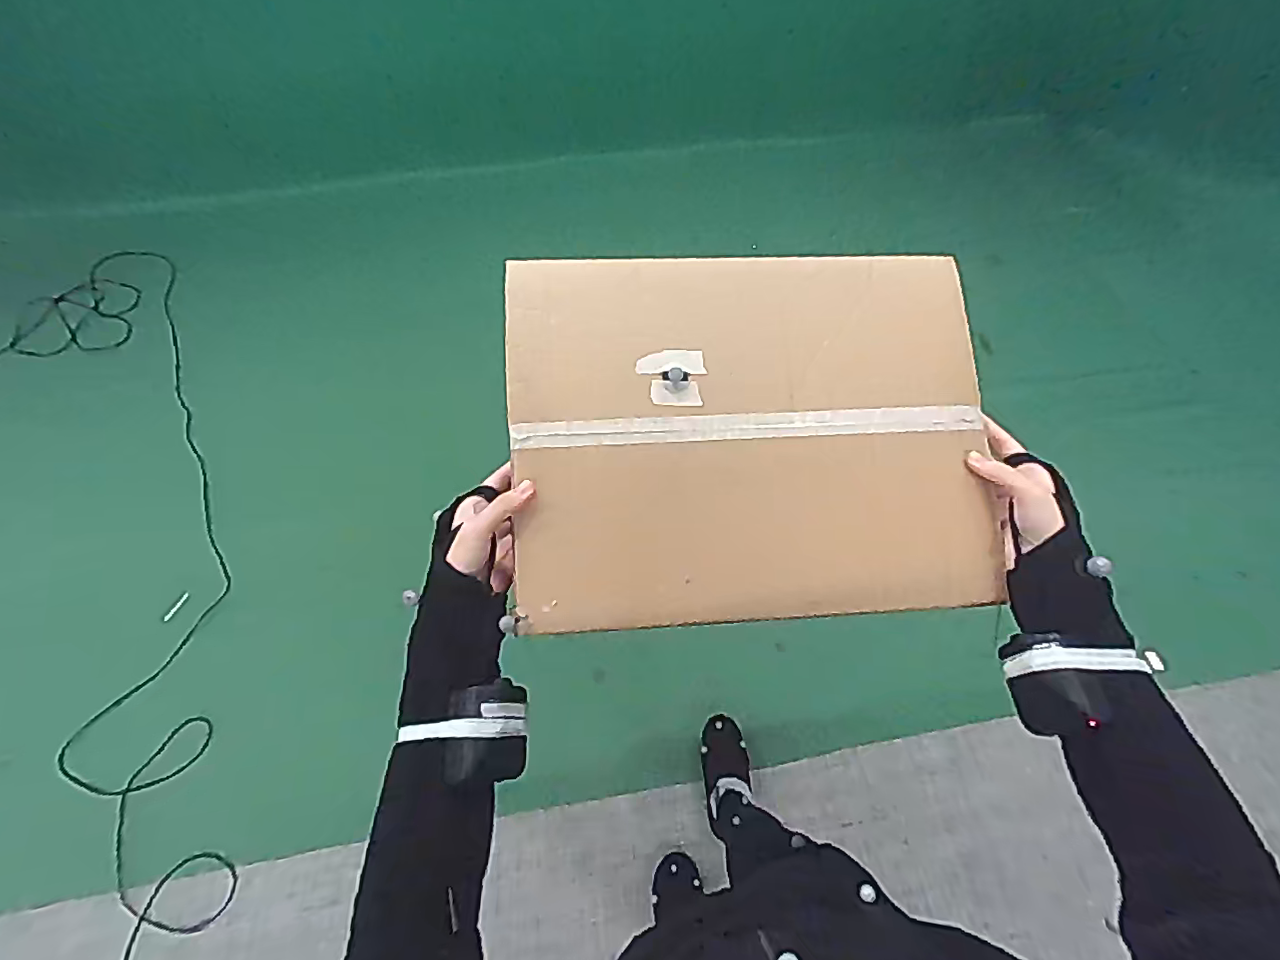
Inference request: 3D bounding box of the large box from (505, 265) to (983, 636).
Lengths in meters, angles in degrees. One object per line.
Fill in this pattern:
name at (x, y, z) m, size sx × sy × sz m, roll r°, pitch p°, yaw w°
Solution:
large box at (0.082, -0.016, 0.620) m, size 0.408 × 0.320 × 0.320 m, roll -3°, pitch 81°, yaw -3°
